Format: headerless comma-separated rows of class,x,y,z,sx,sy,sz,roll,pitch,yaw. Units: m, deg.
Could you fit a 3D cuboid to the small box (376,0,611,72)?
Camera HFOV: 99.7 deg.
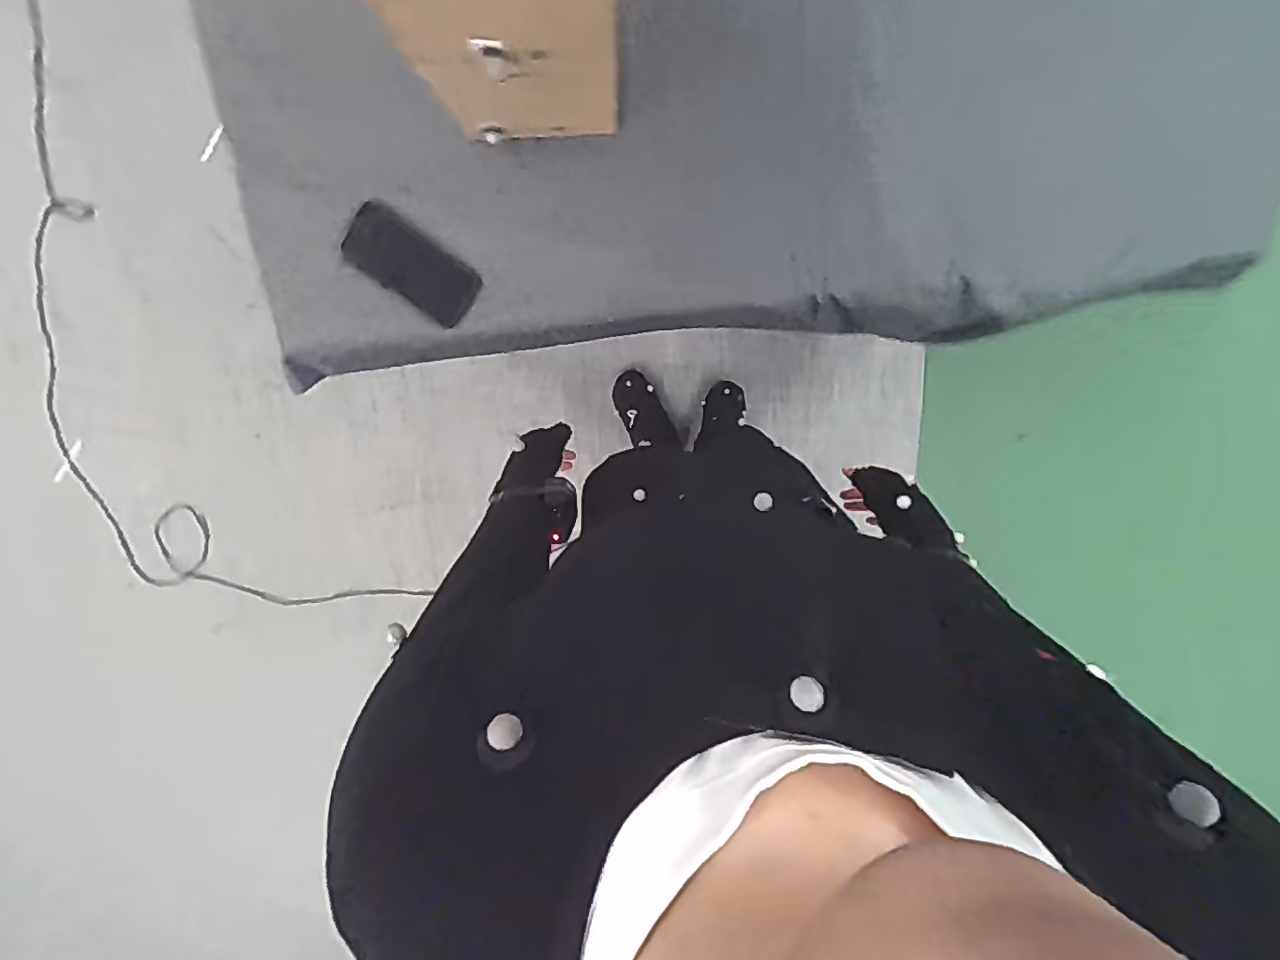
small box,-0.107,-0.402,0.345,0.168,0.176,0.179,-4,106,-1

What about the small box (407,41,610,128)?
small box,-0.115,-0.449,0.500,0.168,0.176,0.179,-4,104,-2
